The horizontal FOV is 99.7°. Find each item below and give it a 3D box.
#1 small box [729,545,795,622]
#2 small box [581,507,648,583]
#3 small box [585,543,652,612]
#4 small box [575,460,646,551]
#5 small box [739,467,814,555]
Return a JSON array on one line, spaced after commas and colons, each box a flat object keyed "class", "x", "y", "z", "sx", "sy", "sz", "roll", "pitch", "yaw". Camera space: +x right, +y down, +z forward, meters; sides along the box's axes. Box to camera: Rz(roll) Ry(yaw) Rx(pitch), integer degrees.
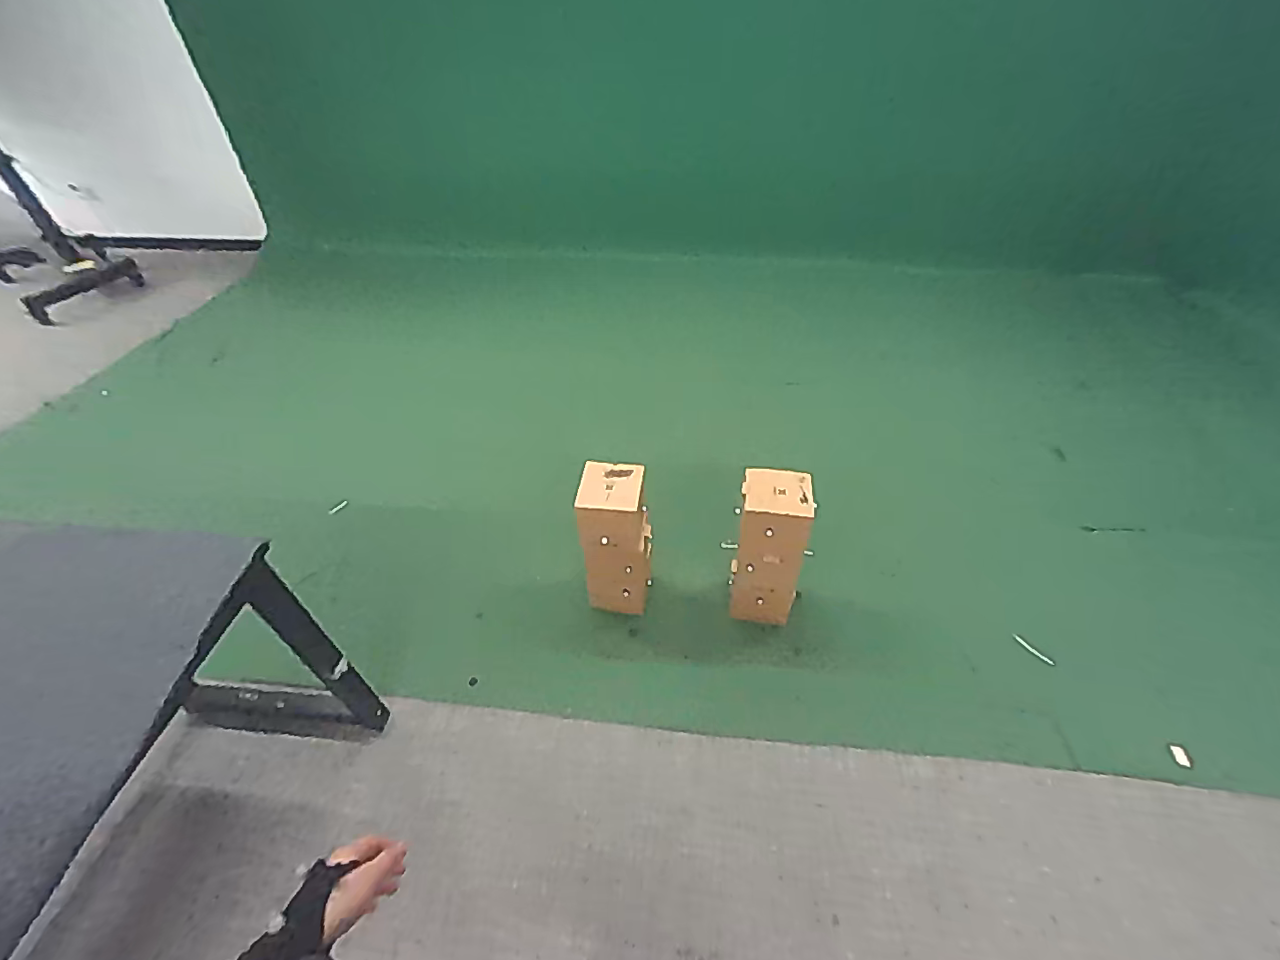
[{"class": "small box", "x": 0.378, "y": 0.324, "z": 1.684, "sx": 0.179, "sy": 0.176, "sz": 0.168, "roll": 6, "pitch": 45, "yaw": 8}, {"class": "small box", "x": -0.068, "y": 0.191, "z": 1.595, "sx": 0.179, "sy": 0.176, "sz": 0.168, "roll": 2, "pitch": 44, "yaw": 4}, {"class": "small box", "x": -0.063, "y": 0.299, "z": 1.716, "sx": 0.179, "sy": 0.176, "sz": 0.168, "roll": 8, "pitch": 45, "yaw": 10}, {"class": "small box", "x": -0.077, "y": 0.069, "z": 1.484, "sx": 0.168, "sy": 0.176, "sz": 0.179, "roll": 4, "pitch": 45, "yaw": 6}, {"class": "small box", "x": 0.361, "y": 0.086, "z": 1.458, "sx": 0.179, "sy": 0.176, "sz": 0.168, "roll": 5, "pitch": 44, "yaw": 8}]
